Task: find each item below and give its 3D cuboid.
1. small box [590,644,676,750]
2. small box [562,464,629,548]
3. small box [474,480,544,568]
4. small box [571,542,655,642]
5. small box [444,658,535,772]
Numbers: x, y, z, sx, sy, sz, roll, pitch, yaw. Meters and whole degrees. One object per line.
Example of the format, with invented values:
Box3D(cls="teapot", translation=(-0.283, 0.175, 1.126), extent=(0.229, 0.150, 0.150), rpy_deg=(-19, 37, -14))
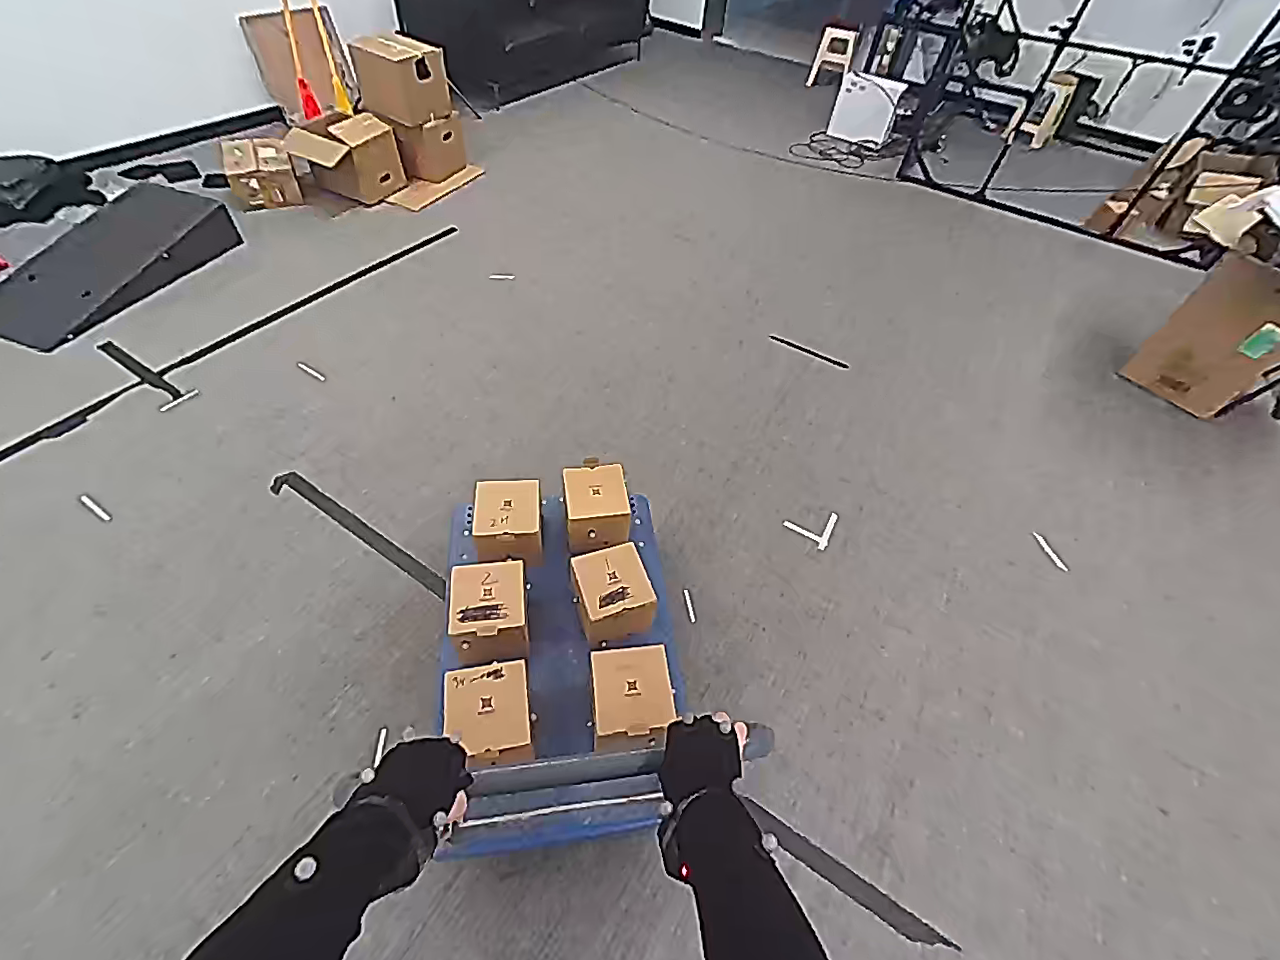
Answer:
Box3D(cls="small box", translation=(-0.023, 0.486, 1.203), extent=(0.168, 0.176, 0.179), rpy_deg=(-2, 50, -9))
Box3D(cls="small box", translation=(-0.127, 0.080, 1.528), extent=(0.168, 0.176, 0.179), rpy_deg=(-6, 51, -11))
Box3D(cls="small box", translation=(-0.350, 0.119, 1.465), extent=(0.168, 0.176, 0.179), rpy_deg=(-2, 52, -8))
Box3D(cls="small box", translation=(-0.072, 0.288, 1.360), extent=(0.168, 0.176, 0.179), rpy_deg=(-13, 53, -17))
Box3D(cls="small box", translation=(-0.315, 0.505, 1.150), extent=(0.168, 0.176, 0.179), rpy_deg=(-5, 52, -12))
